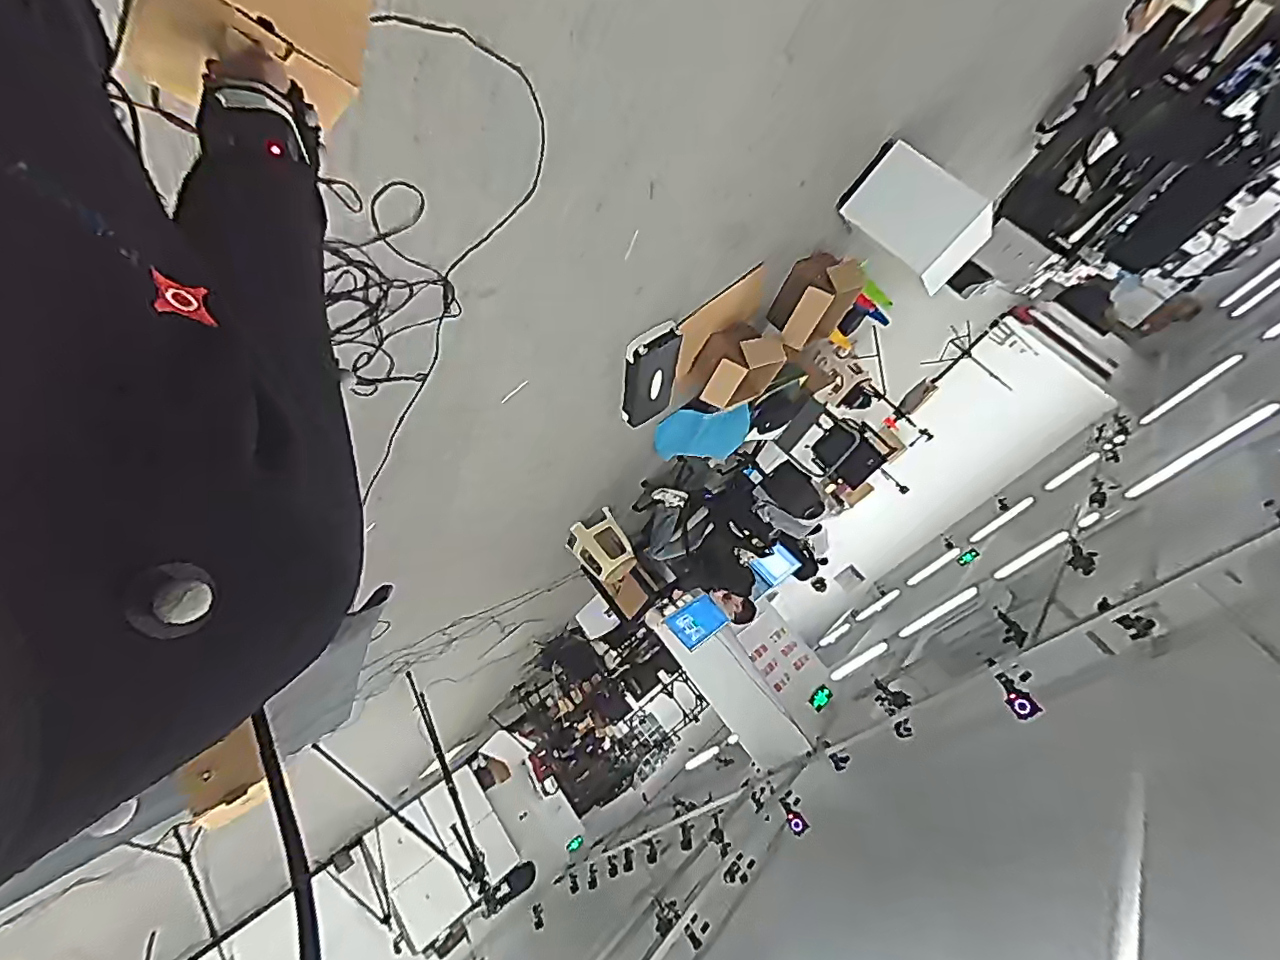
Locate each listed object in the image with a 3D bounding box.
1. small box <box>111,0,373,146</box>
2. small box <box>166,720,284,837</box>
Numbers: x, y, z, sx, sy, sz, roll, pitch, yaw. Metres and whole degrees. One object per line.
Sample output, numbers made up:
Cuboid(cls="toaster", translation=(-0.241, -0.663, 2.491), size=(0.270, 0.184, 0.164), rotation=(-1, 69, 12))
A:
Cuboid(cls="small box", translation=(-0.381, -0.479, 0.526), size=(0.176, 0.179, 0.168), rotation=(-1, 172, 39))
Cuboid(cls="small box", translation=(-0.977, 0.700, 1.280), size=(0.168, 0.176, 0.179), rotation=(-25, 158, -37))
